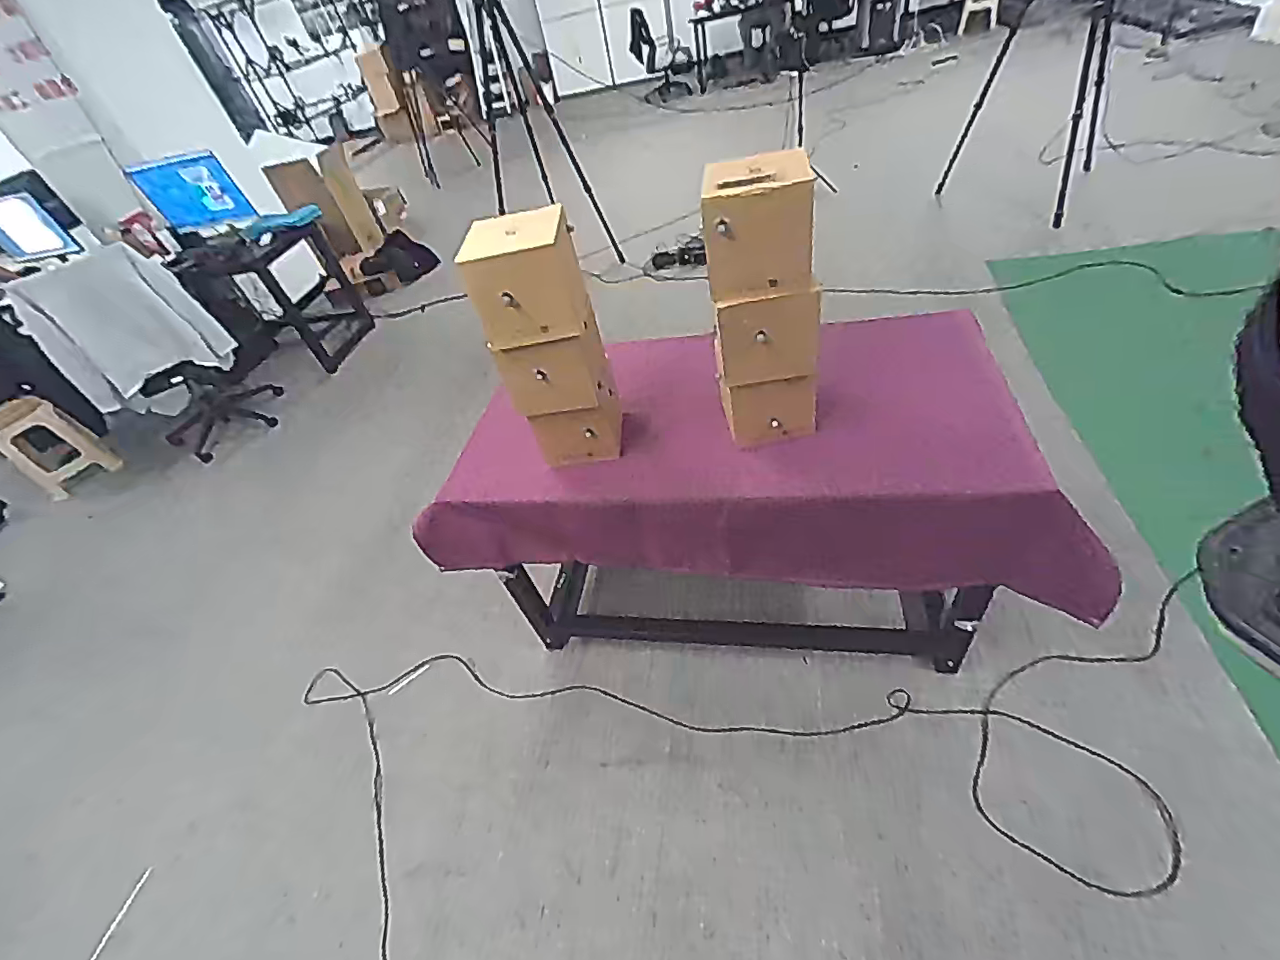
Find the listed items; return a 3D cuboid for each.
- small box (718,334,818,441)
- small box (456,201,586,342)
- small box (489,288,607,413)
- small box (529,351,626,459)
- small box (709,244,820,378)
[{"bbox_3d":[0.263,-0.207,1.127,0.168,0.176,0.179,-11,44,6],"label":"small box"},{"bbox_3d":[-0.197,-0.358,0.953,0.168,0.176,0.179,-9,44,7],"label":"small box"},{"bbox_3d":[-0.171,-0.254,1.075,0.179,0.176,0.168,-7,45,10],"label":"small box"},{"bbox_3d":[-0.132,-0.160,1.206,0.168,0.176,0.179,-6,44,10],"label":"small box"},{"bbox_3d":[0.229,-0.306,1.000,0.179,0.176,0.168,-8,45,10],"label":"small box"}]
